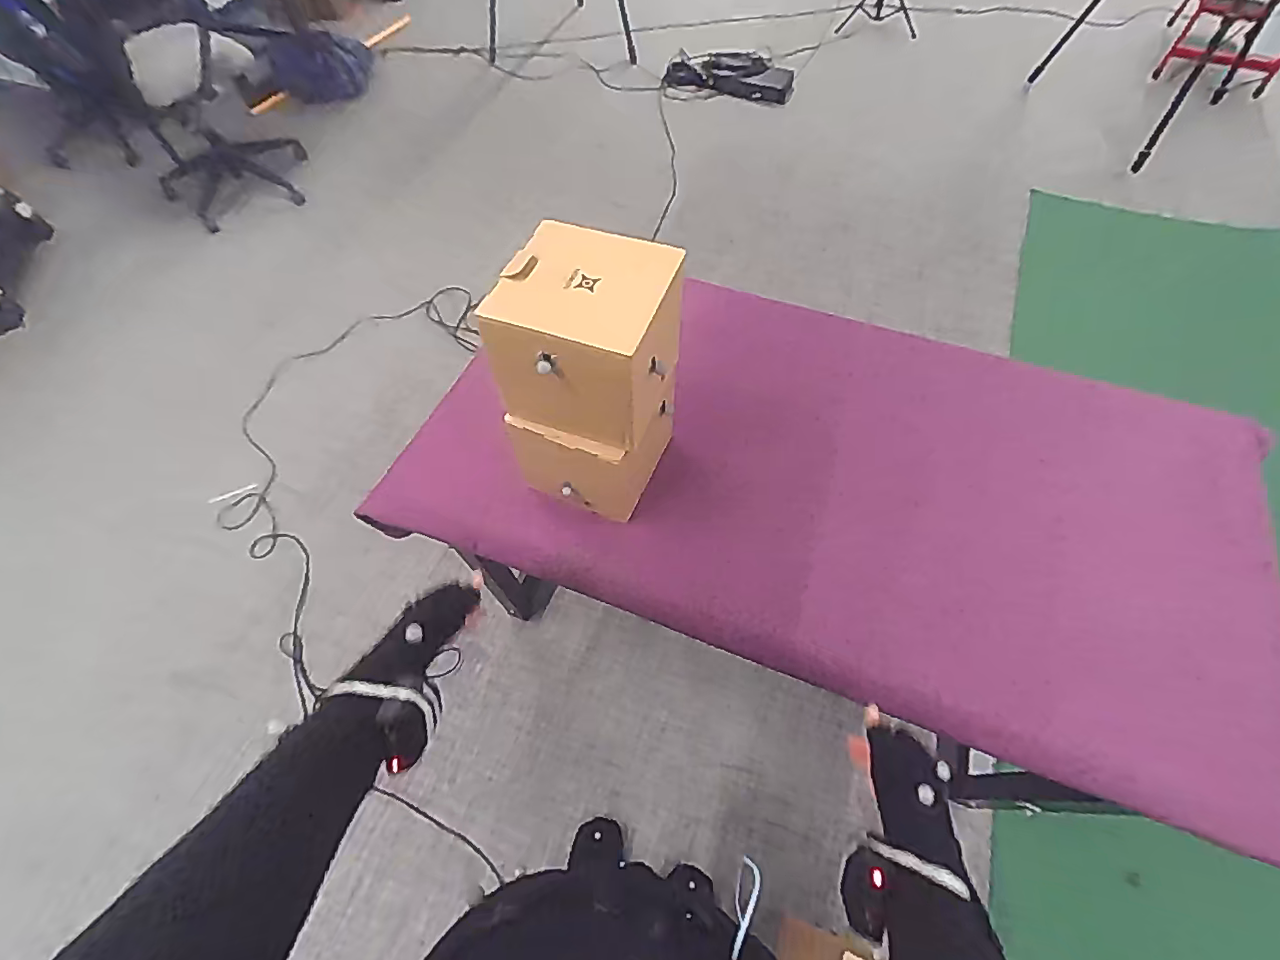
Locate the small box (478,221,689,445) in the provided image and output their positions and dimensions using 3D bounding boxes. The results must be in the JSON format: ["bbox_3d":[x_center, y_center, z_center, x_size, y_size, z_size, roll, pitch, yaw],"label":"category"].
[{"bbox_3d":[-0.055,-0.164,0.636,0.179,0.176,0.168,18,62,11],"label":"small box"}]

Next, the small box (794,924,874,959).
[{"bbox_3d":[0.339,0.875,0.877,0.168,0.176,0.179,22,62,13],"label":"small box"}]

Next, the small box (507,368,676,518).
[{"bbox_3d":[-0.062,-0.076,0.774,0.168,0.176,0.179,22,63,13],"label":"small box"}]
